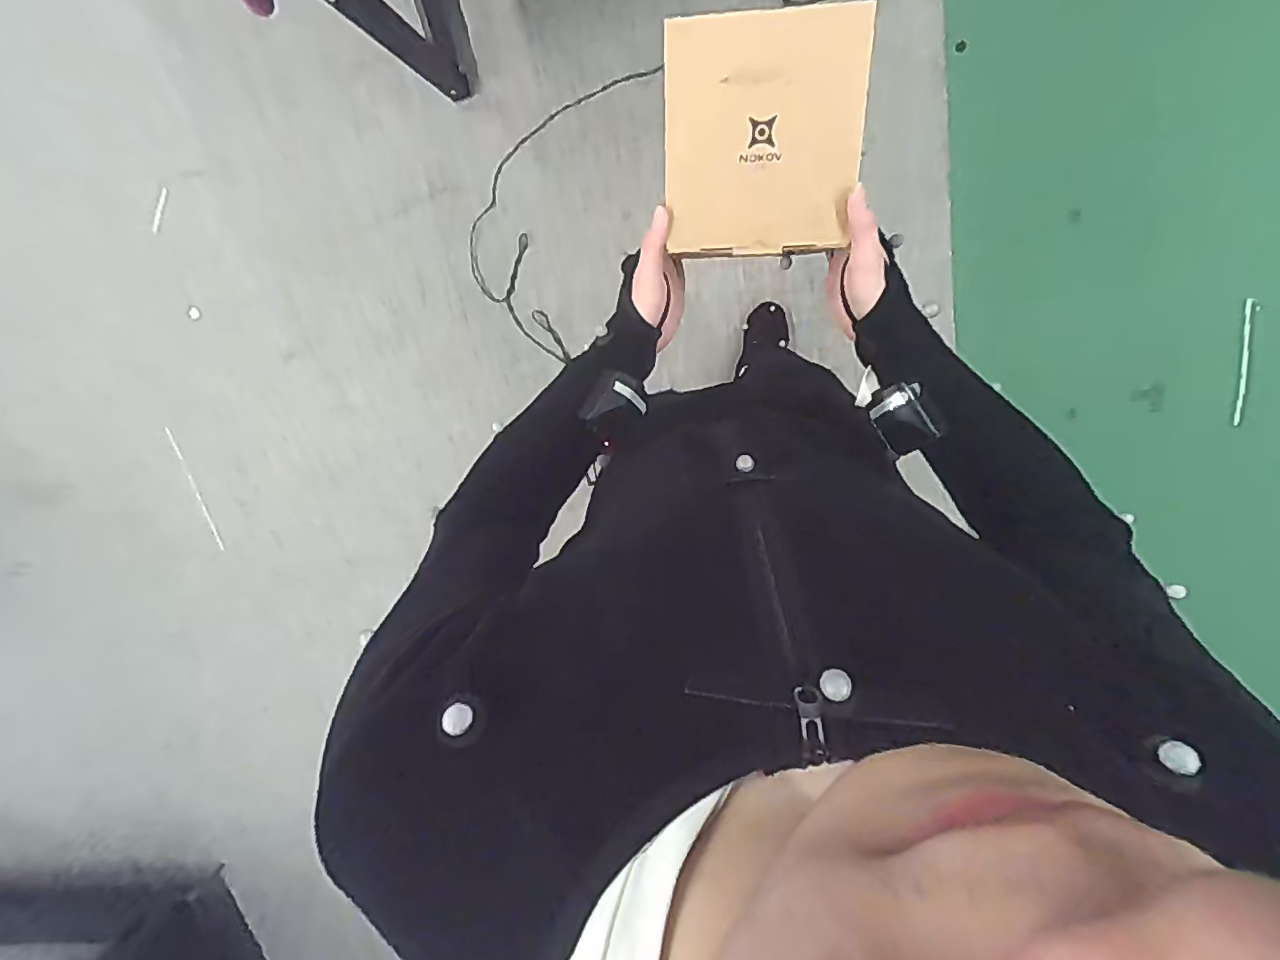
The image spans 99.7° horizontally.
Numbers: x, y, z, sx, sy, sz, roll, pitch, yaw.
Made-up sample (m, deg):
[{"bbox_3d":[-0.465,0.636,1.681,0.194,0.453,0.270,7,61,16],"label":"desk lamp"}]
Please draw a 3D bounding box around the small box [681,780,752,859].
[{"bbox_3d":[0.201,0.908,1.387,0.168,0.176,0.179,-5,107,10],"label":"small box"}]
